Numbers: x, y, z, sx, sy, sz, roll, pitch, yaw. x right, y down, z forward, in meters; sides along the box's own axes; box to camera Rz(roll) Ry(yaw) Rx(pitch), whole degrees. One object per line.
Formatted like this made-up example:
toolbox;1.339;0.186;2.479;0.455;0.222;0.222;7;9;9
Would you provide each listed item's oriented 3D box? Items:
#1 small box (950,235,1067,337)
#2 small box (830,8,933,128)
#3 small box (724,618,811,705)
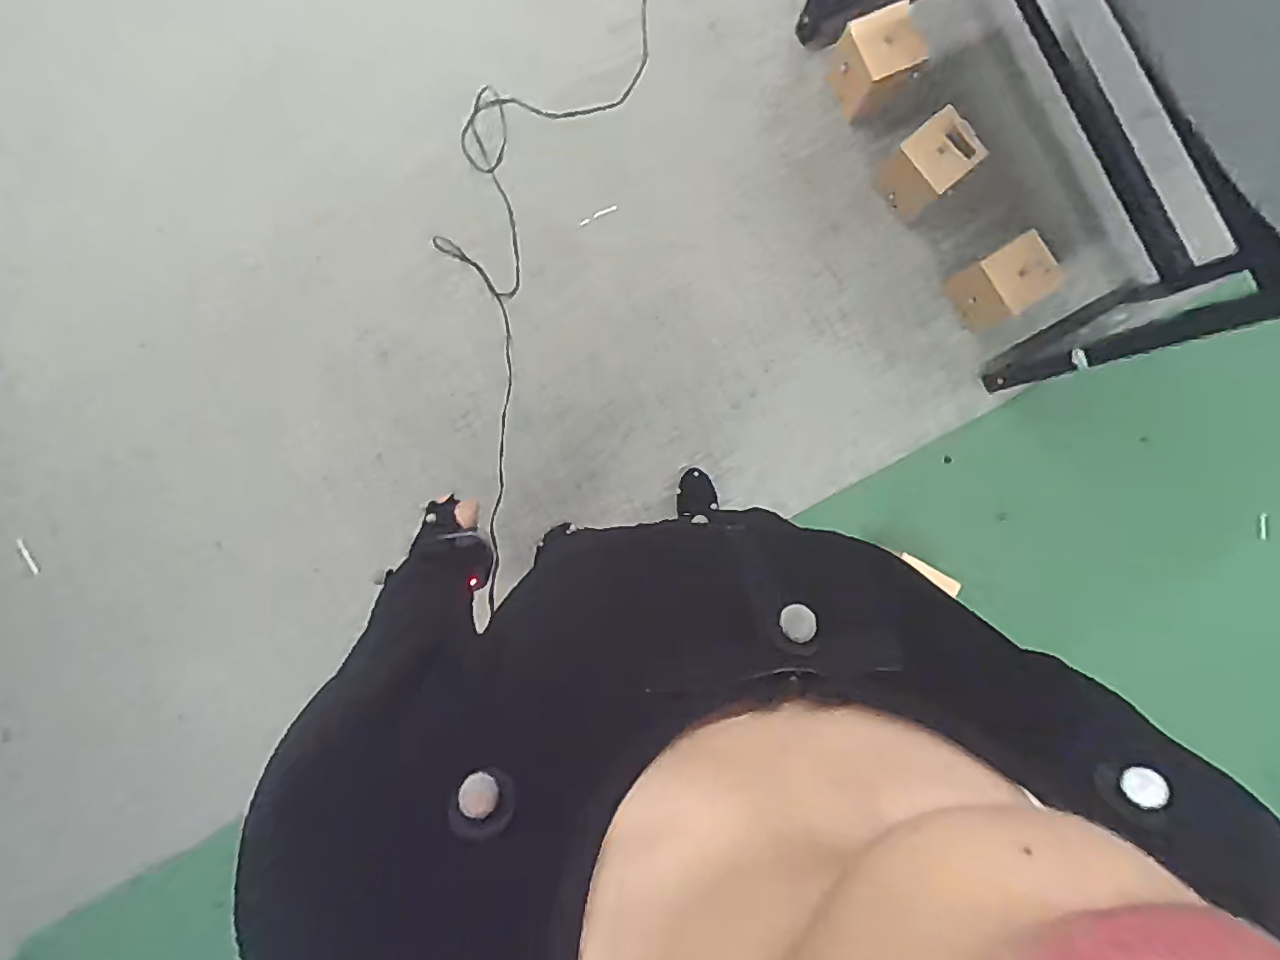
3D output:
small box;0.977;-0.513;1.459;0.179;0.176;0.168;-33;91;-3
small box;0.638;-1.103;1.462;0.179;0.176;0.168;-24;90;-4
small box;0.322;0.464;1.406;0.179;0.176;0.168;6;89;-3
